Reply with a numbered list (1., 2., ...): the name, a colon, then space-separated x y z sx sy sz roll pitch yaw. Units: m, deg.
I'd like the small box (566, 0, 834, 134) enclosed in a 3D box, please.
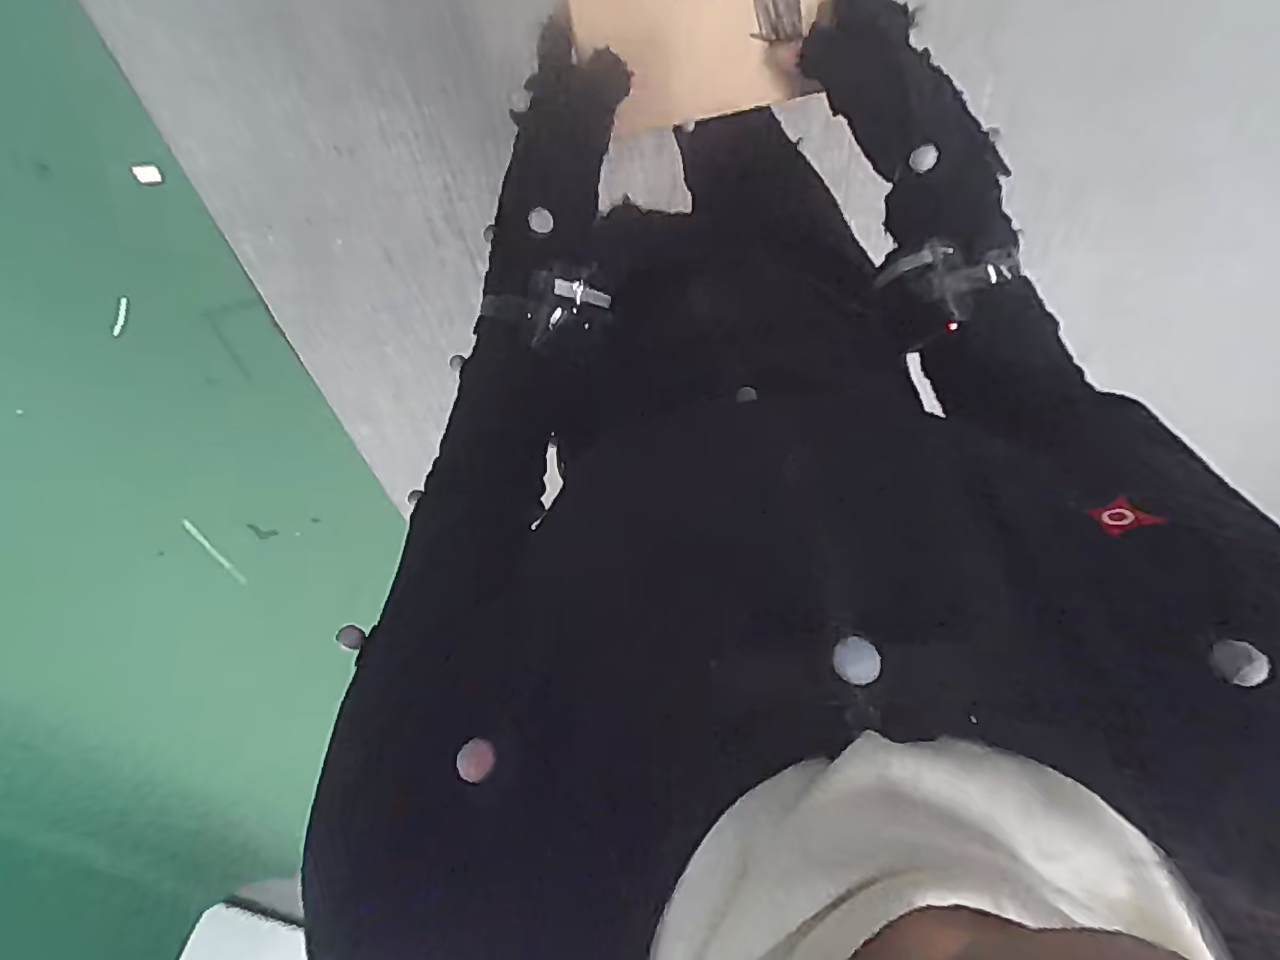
1. small box: 0.031 -0.380 0.402 0.179 0.176 0.168 -11 129 3
